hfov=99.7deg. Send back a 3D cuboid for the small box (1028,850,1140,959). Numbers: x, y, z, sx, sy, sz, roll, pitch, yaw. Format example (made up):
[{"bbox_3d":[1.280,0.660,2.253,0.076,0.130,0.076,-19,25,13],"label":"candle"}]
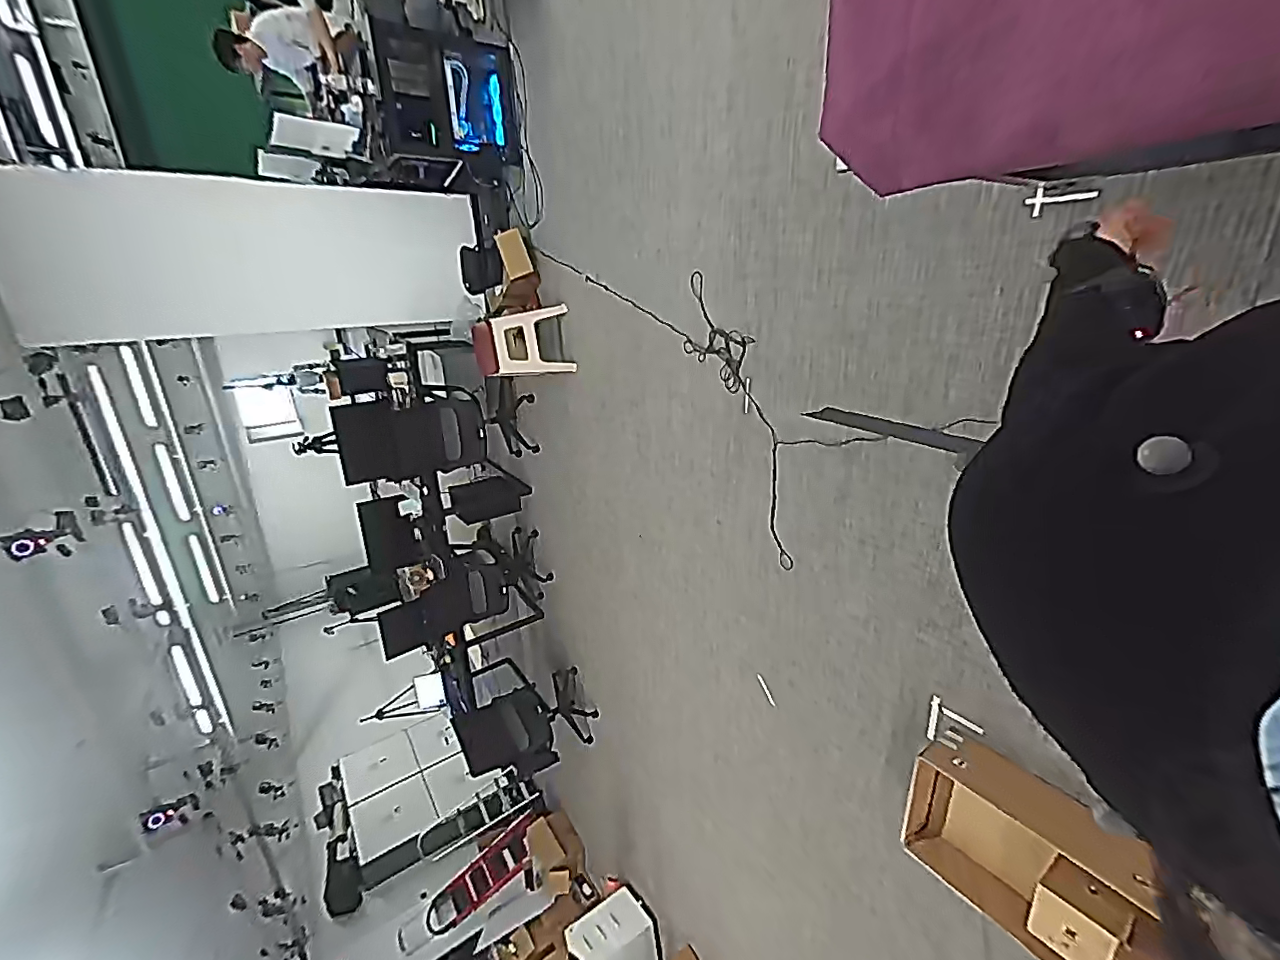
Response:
[{"bbox_3d":[1.135,1.104,1.382,0.168,0.176,0.179,23,122,53],"label":"small box"}]
